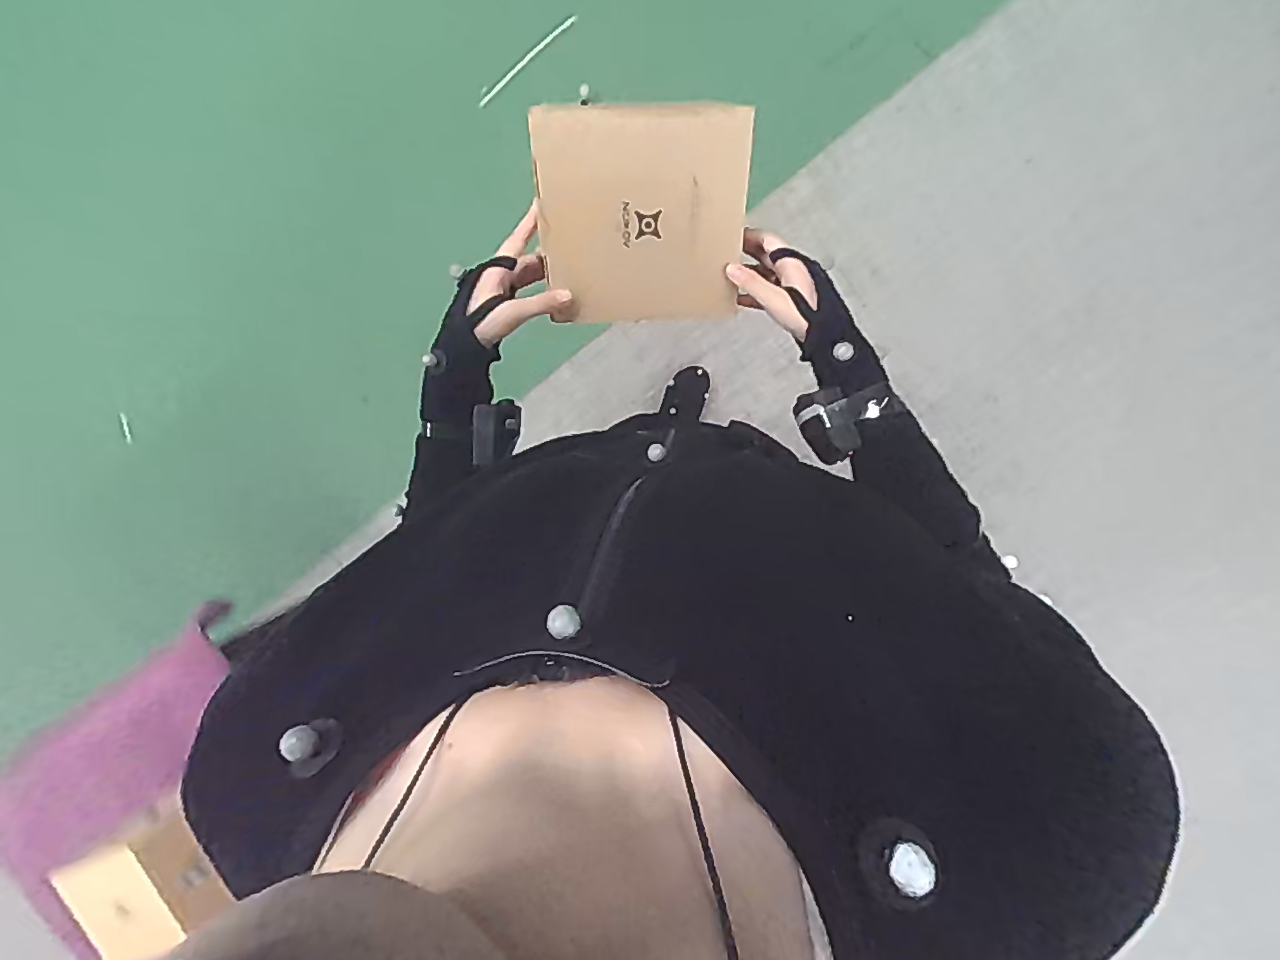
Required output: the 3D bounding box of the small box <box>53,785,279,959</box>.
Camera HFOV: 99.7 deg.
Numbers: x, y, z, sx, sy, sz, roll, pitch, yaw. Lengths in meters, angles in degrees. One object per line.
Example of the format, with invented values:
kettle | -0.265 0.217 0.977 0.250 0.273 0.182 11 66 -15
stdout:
small box | -0.729 0.619 0.853 0.168 0.176 0.179 -26 96 11
